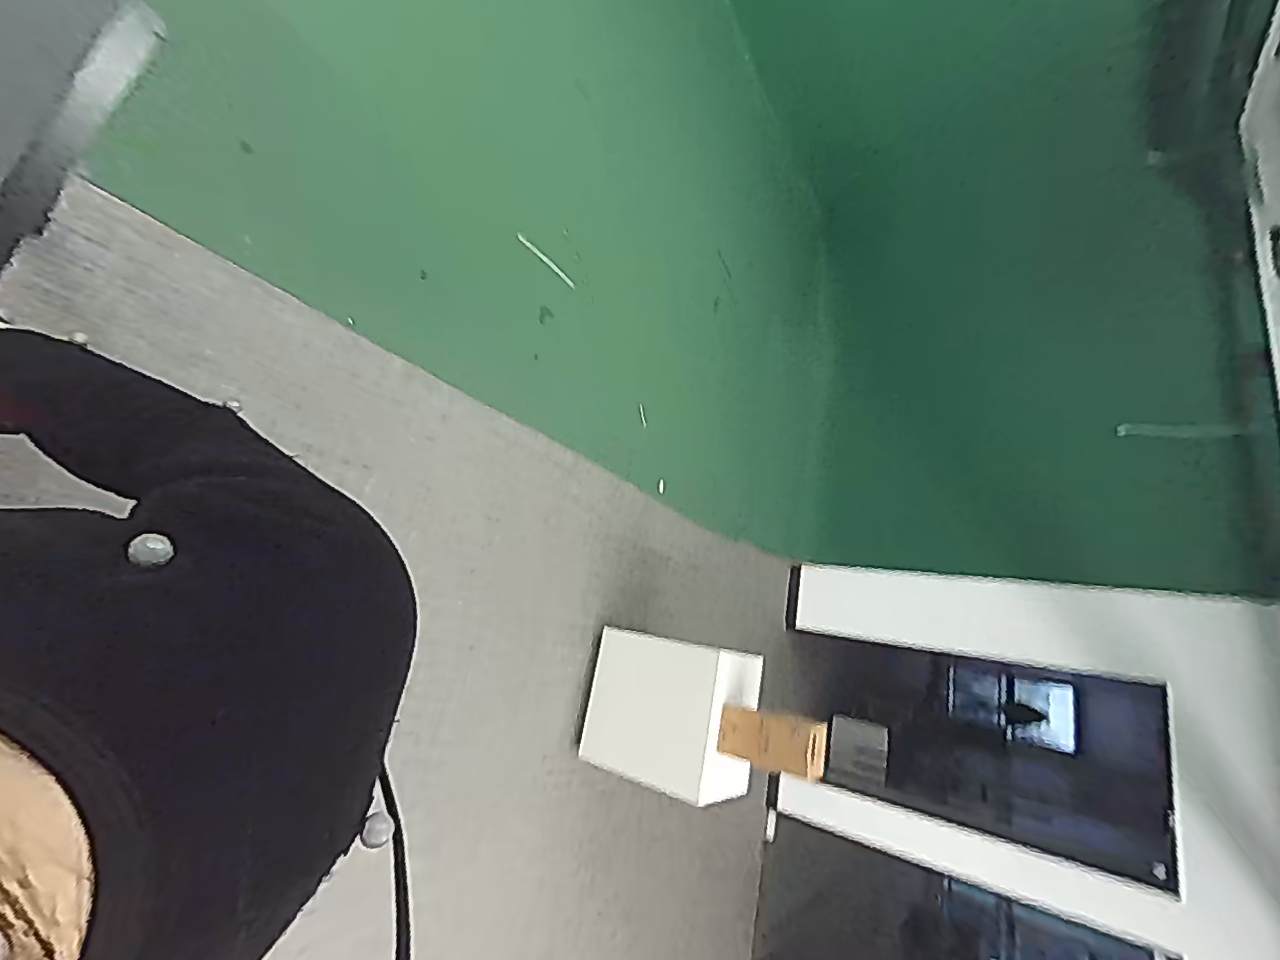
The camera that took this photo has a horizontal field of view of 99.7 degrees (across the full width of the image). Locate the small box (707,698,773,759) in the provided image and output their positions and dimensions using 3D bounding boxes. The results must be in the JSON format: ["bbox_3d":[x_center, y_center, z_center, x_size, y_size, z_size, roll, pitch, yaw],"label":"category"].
[{"bbox_3d":[0.366,0.902,1.975,0.179,0.176,0.168,30,66,-50],"label":"small box"}]
